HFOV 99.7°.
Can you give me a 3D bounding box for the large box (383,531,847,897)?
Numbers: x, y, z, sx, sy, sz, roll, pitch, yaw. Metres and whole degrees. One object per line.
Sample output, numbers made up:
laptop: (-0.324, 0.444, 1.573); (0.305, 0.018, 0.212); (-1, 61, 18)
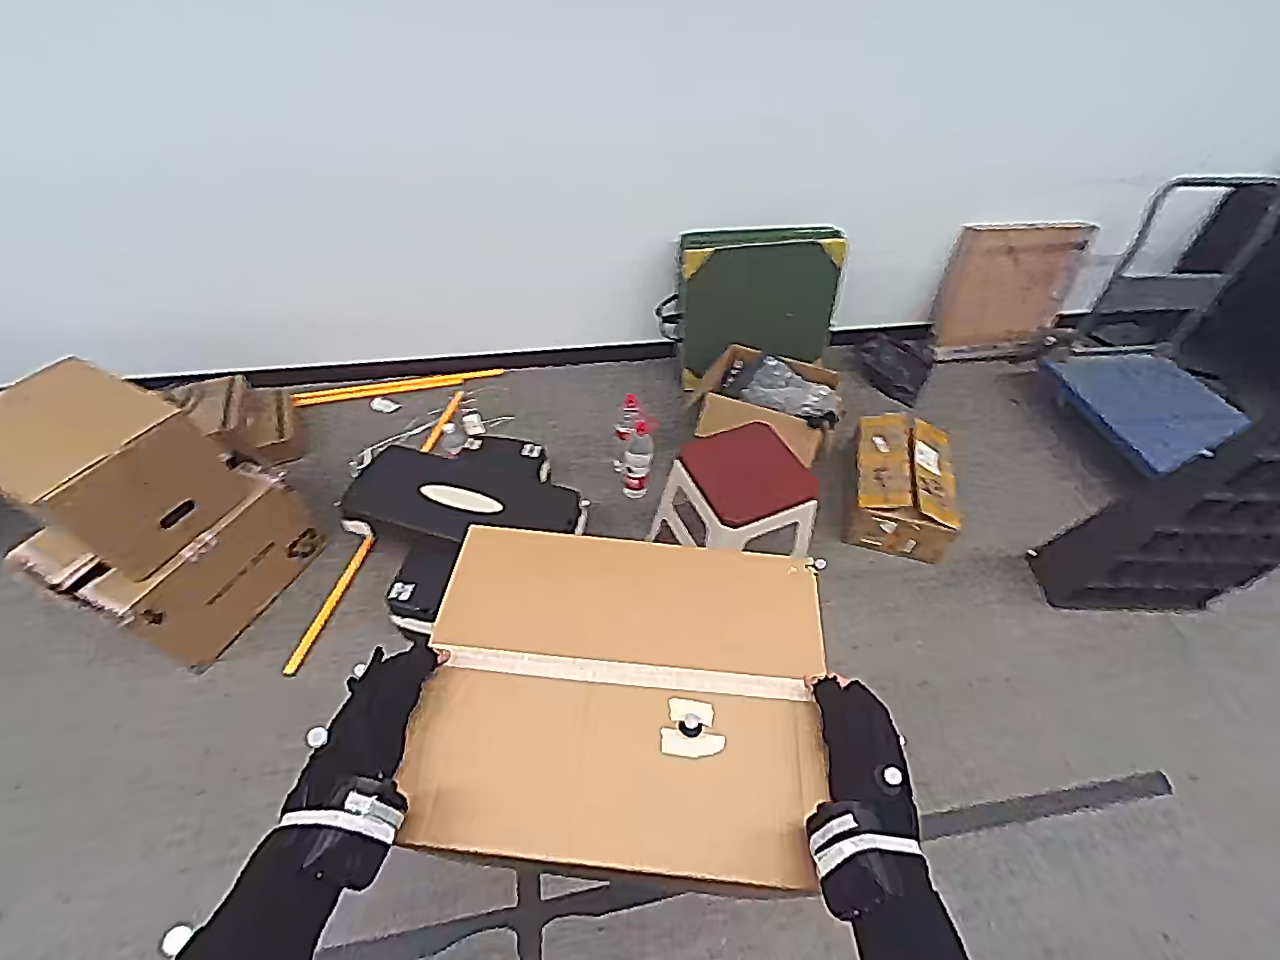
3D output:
large box: (-0.018, 0.291, 0.660); (0.408, 0.320, 0.320); (7, 52, 2)
